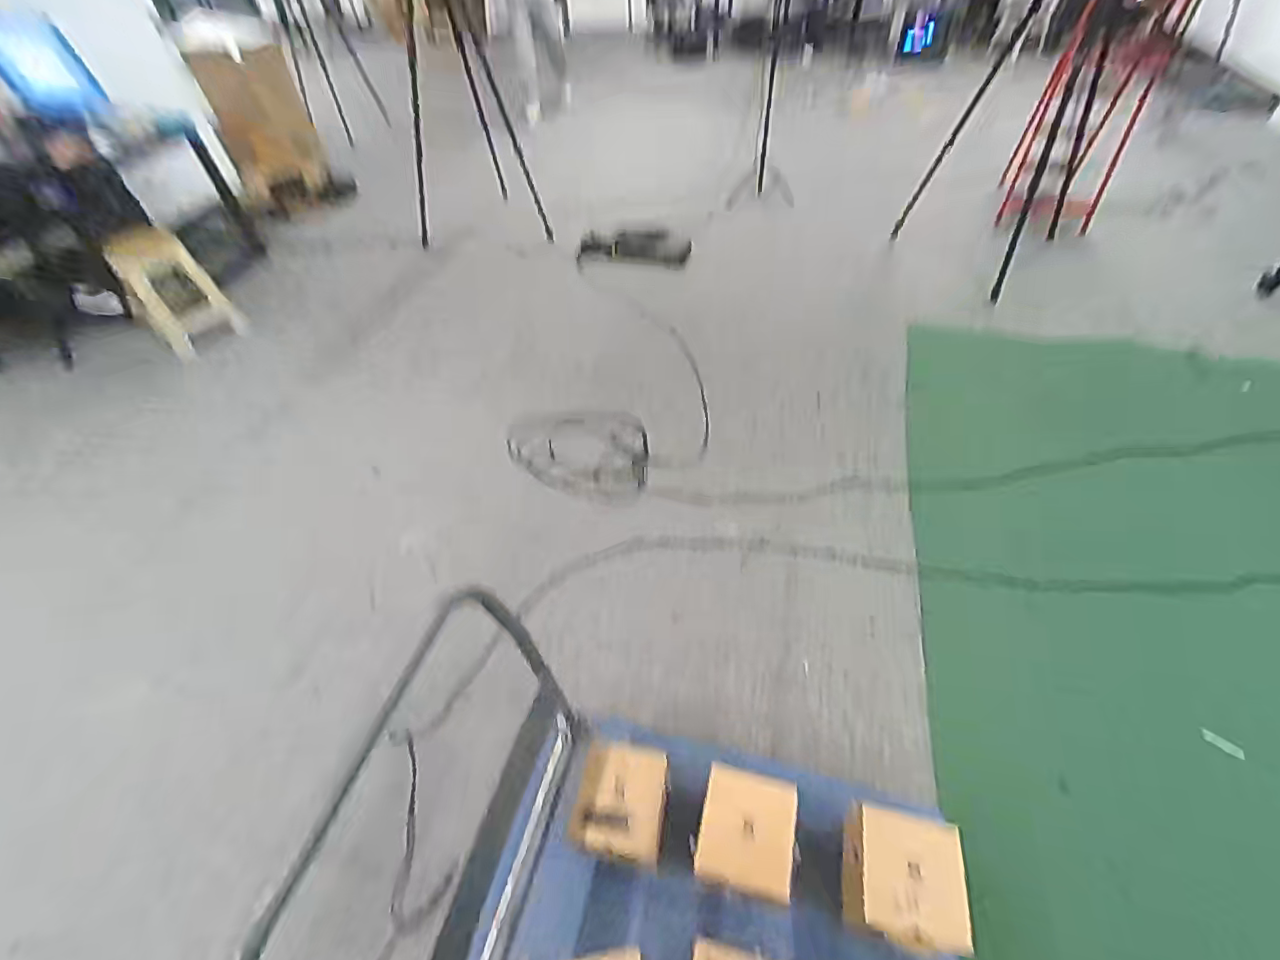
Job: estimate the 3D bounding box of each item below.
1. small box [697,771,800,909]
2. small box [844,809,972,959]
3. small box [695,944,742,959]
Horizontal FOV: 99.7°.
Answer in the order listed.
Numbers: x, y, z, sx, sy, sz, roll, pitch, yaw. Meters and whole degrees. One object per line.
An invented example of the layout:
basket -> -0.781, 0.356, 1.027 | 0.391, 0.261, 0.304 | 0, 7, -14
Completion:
small box -> 0.205, 0.698, 1.047 | 0.168, 0.176, 0.179 | 10, 51, 13
small box -> 0.476, 0.736, 0.987 | 0.168, 0.176, 0.179 | 8, 49, 13
small box -> 0.156, 0.891, 0.874 | 0.168, 0.176, 0.179 | 10, 50, 13
